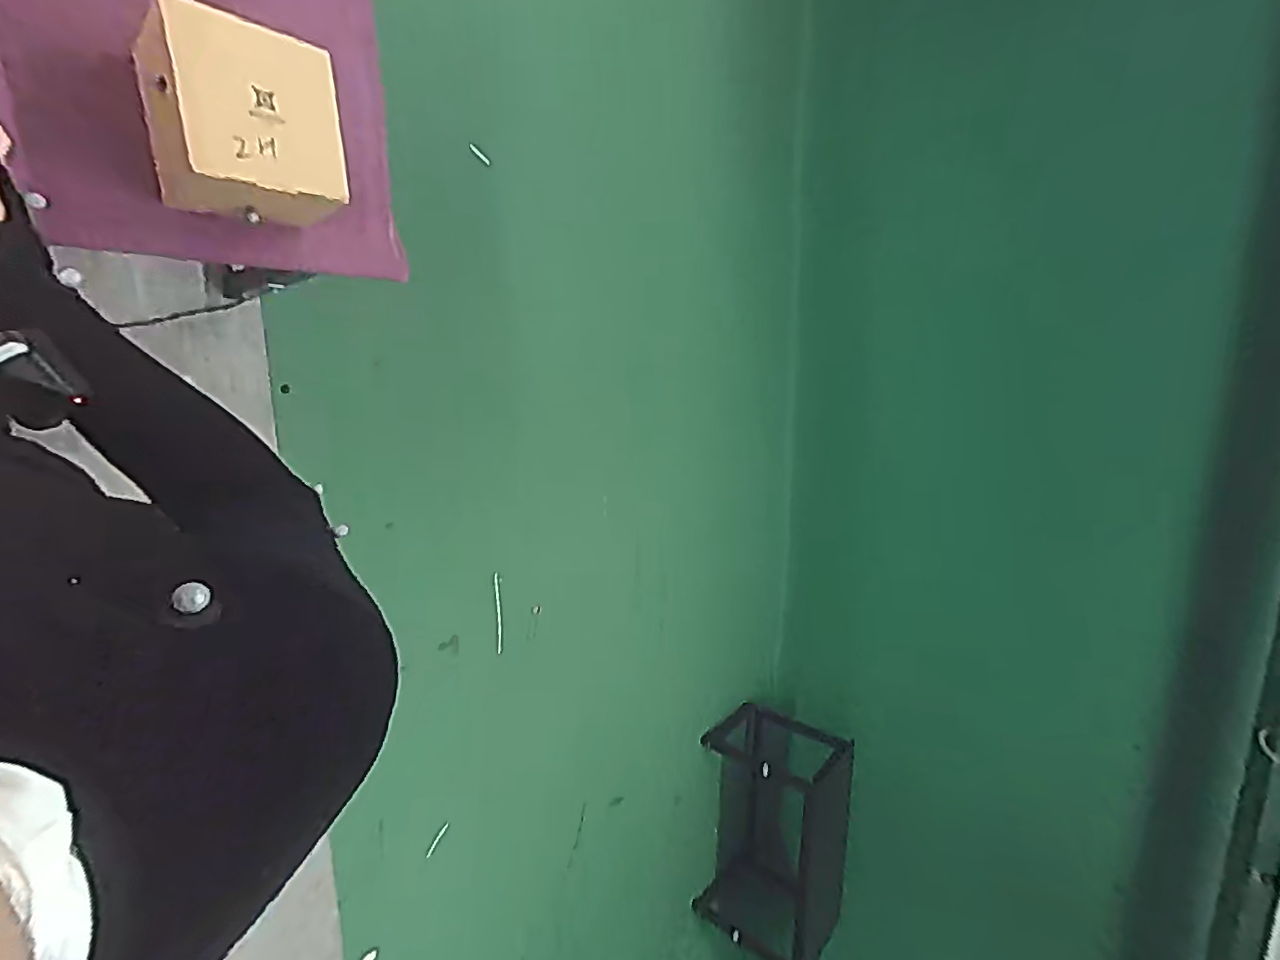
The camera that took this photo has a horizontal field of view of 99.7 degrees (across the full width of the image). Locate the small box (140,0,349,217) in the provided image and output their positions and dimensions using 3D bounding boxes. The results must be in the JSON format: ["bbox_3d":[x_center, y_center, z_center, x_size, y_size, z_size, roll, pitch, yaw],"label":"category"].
[{"bbox_3d":[-0.491,-0.449,0.673,0.168,0.176,0.179,-14,108,-46],"label":"small box"}]
